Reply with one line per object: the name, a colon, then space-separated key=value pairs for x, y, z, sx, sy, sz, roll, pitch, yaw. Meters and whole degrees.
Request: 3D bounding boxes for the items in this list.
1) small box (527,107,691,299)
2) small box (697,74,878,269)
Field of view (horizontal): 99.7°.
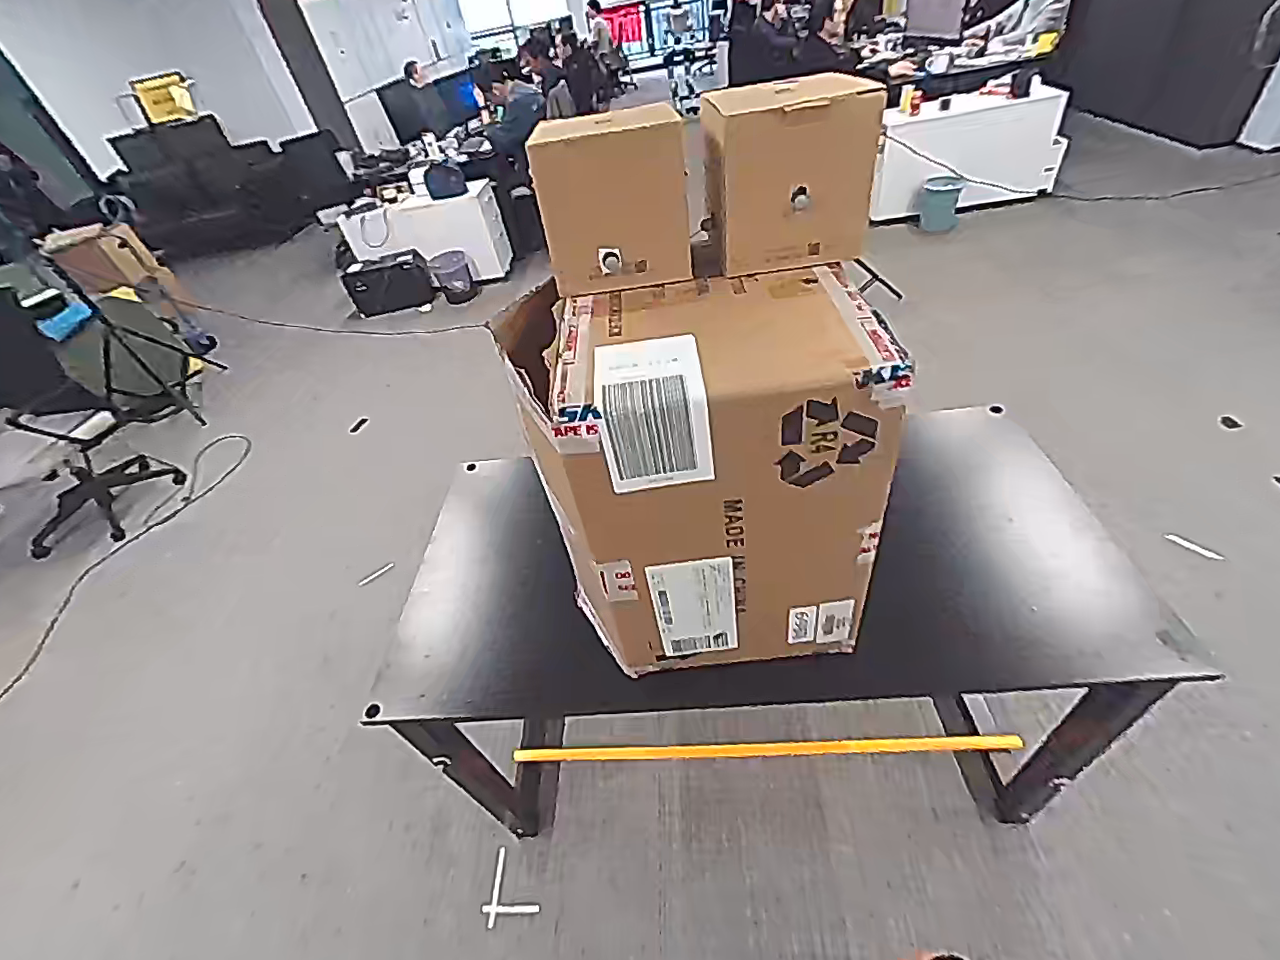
small box: x=-0.032 y=-0.345 z=0.674 sx=0.168 sy=0.176 sz=0.179 roll=-9 pitch=40 yaw=2
small box: x=0.165 y=-0.368 z=0.657 sx=0.168 sy=0.176 sz=0.179 roll=-7 pitch=42 yaw=2
